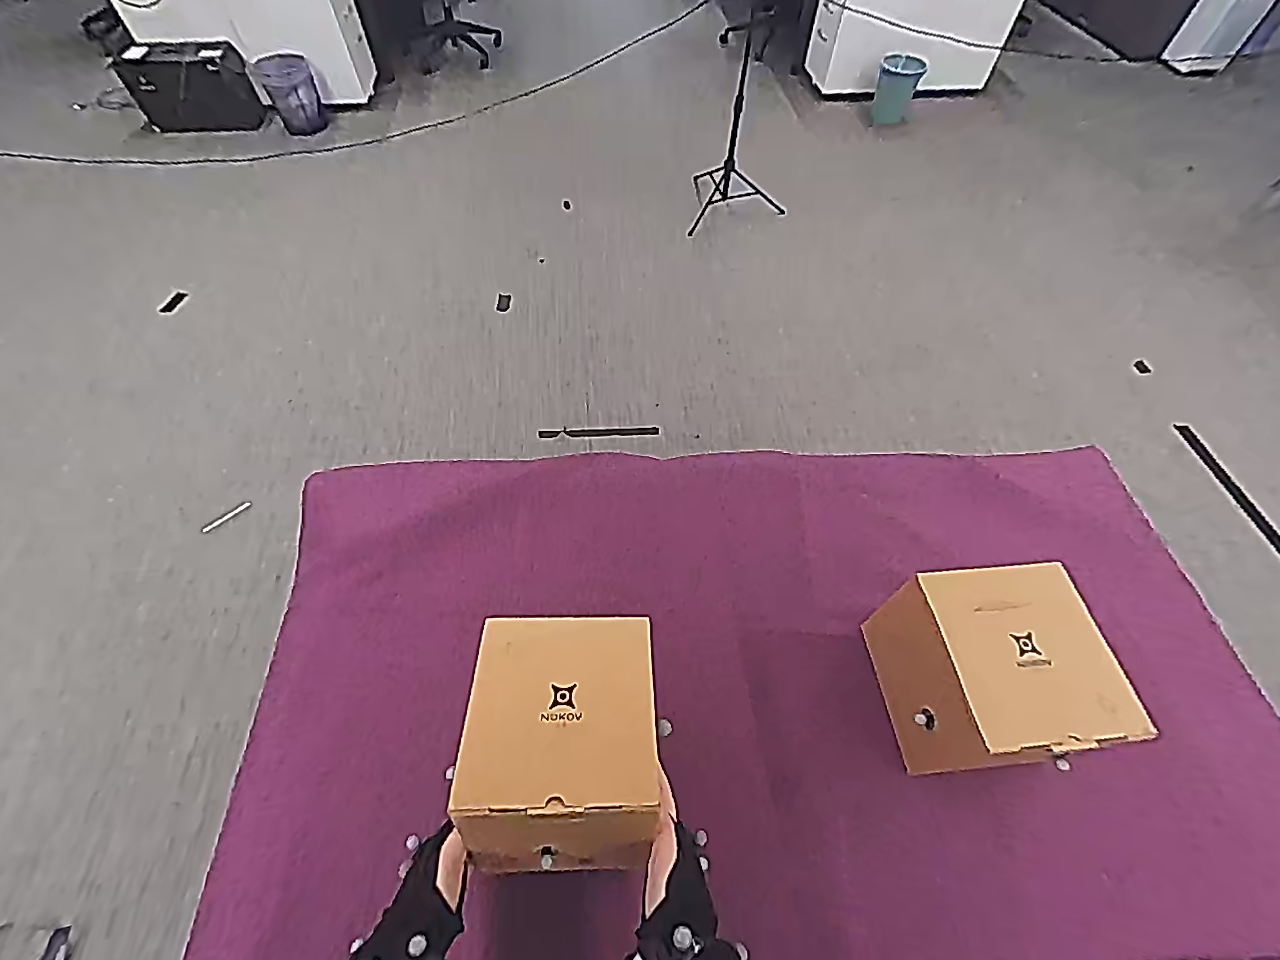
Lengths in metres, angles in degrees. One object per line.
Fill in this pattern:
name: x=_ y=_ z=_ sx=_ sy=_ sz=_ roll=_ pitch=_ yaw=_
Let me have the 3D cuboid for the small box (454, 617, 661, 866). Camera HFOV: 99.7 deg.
small box: x=-0.071 y=0.256 z=0.535 sx=0.168 sy=0.176 sz=0.179 roll=1 pitch=43 yaw=-3

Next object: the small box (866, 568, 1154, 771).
small box: x=0.377 y=0.215 z=0.595 sx=0.168 sy=0.176 sz=0.179 roll=-3 pitch=56 yaw=-4
